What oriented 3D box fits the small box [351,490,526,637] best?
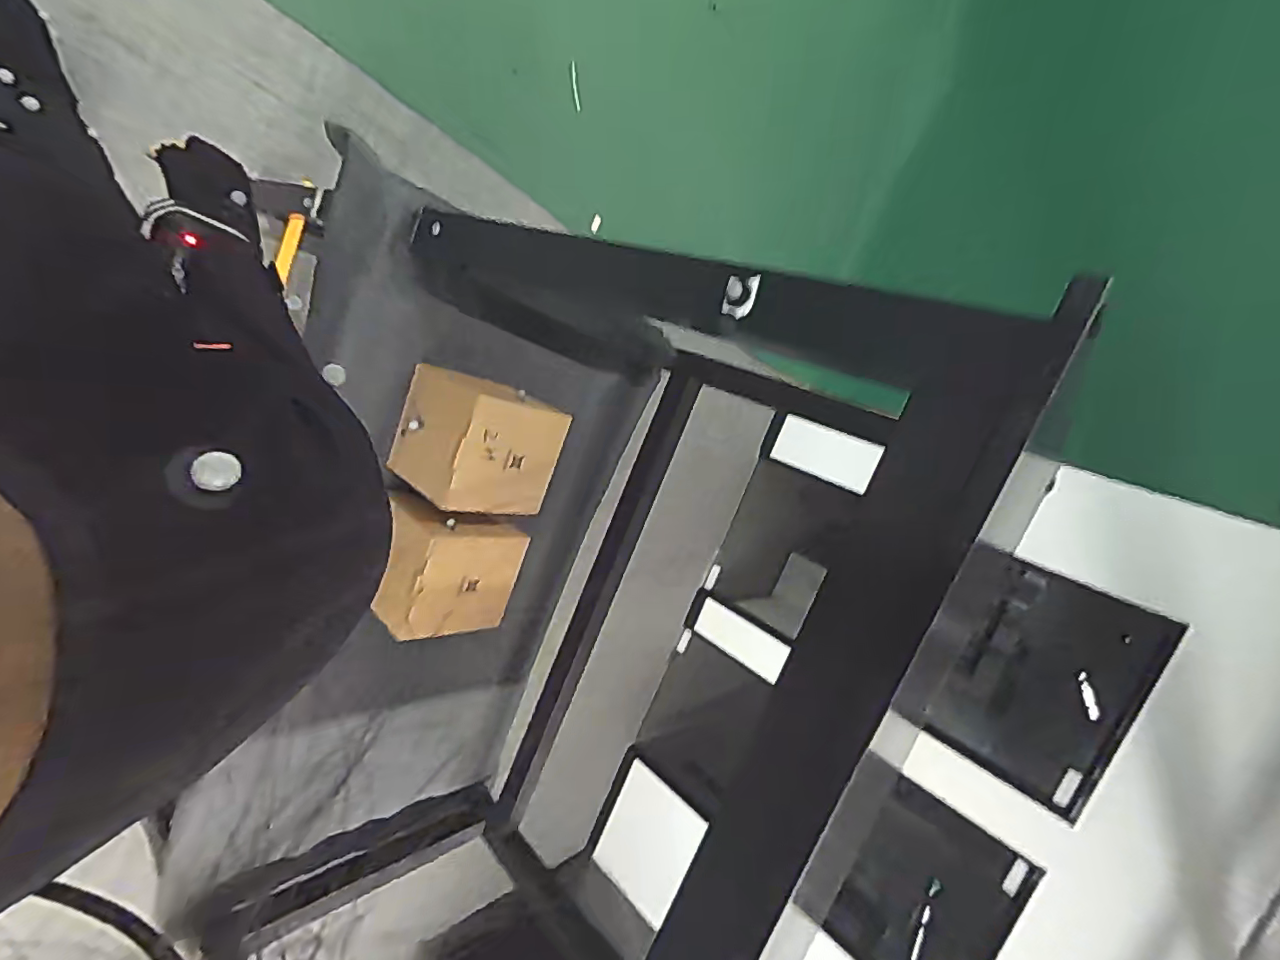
[{"bbox_3d":[-0.320,0.124,0.859,0.179,0.176,0.168,8,105,-54],"label":"small box"}]

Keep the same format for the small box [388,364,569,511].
[{"bbox_3d":[-0.246,-0.064,0.824,0.179,0.176,0.168,8,105,-53],"label":"small box"}]
